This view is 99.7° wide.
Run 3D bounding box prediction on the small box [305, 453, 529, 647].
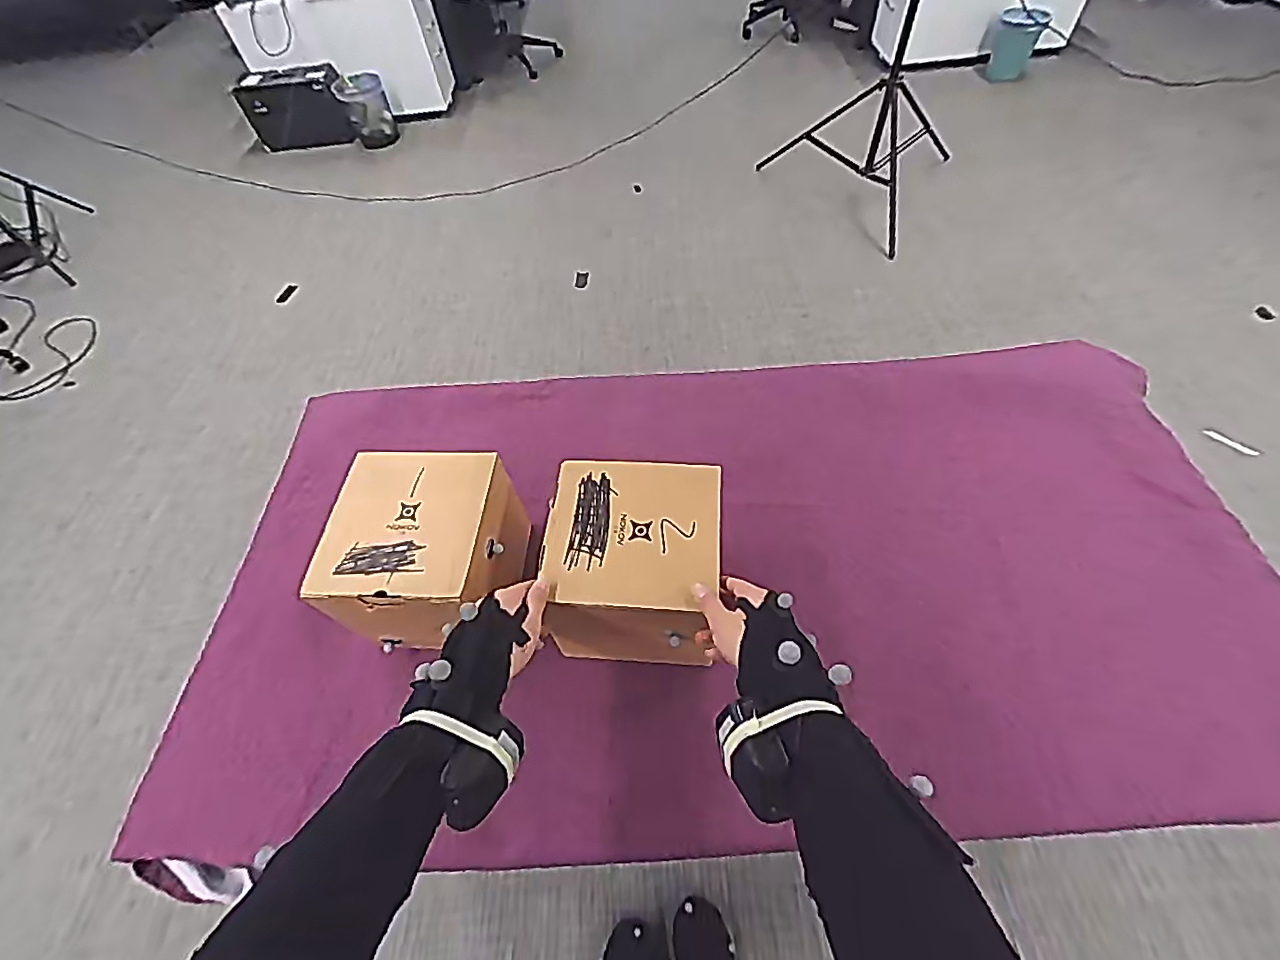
[{"bbox_3d":[-0.238,0.087,0.633,0.168,0.176,0.179,1,55,4],"label":"small box"}]
